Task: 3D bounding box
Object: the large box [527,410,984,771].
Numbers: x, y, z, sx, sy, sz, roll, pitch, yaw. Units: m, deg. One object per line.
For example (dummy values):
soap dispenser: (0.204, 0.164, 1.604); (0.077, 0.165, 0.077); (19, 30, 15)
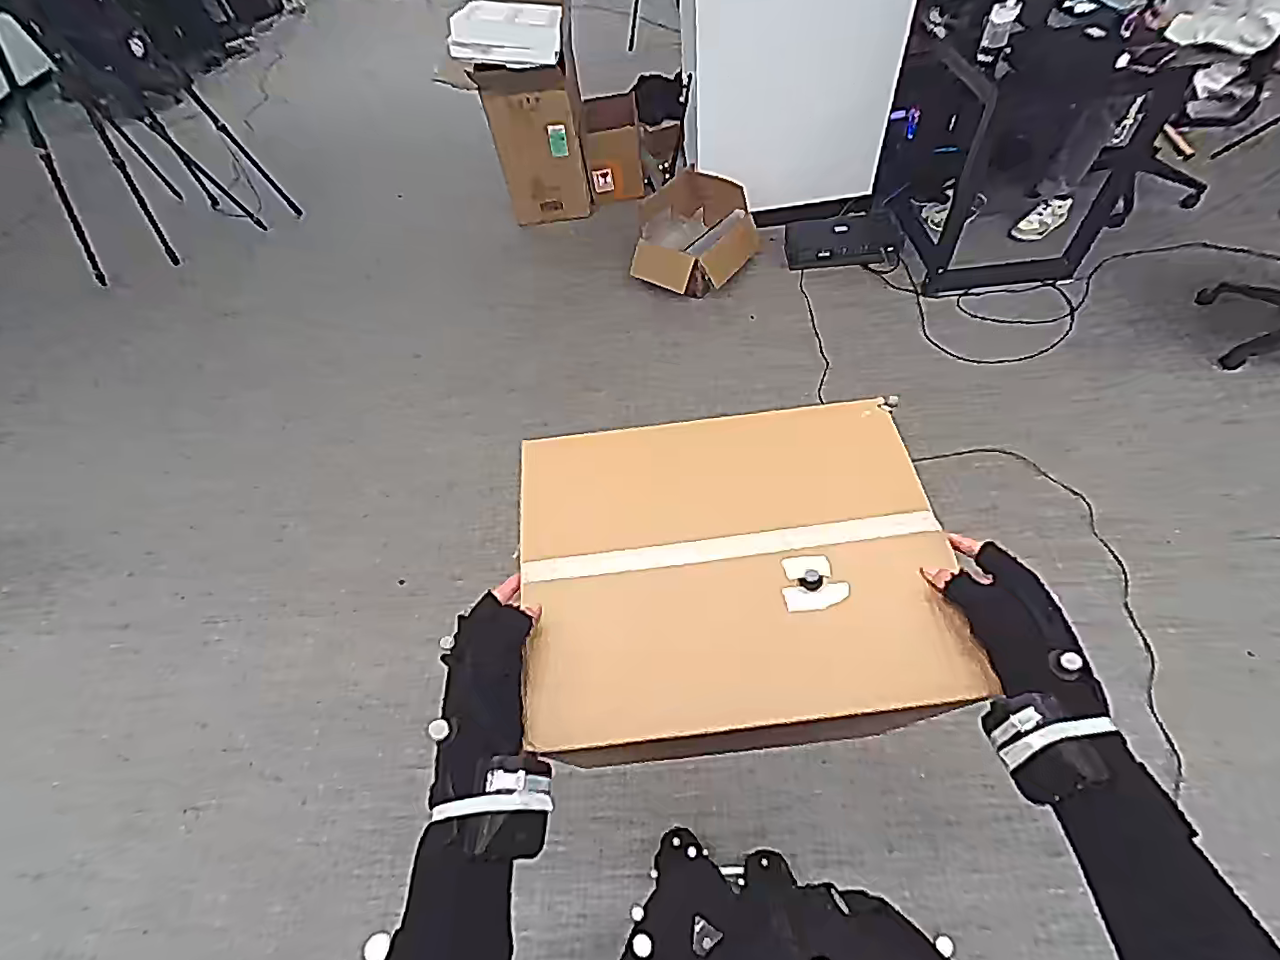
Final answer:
large box: (0.093, 0.151, 0.665); (0.408, 0.320, 0.320); (-7, 59, 0)
